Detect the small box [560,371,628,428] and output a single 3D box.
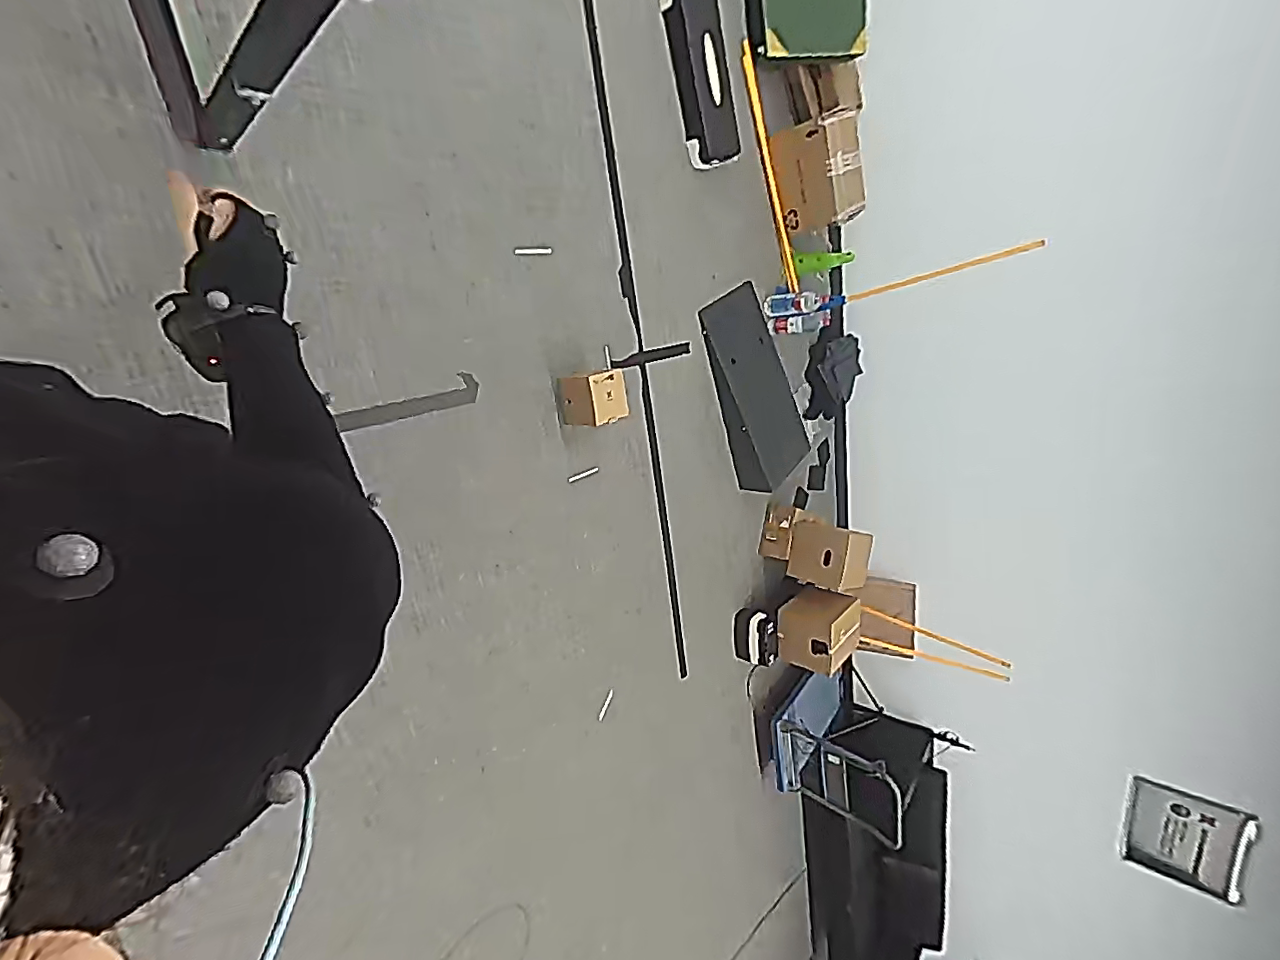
[{"bbox_3d":[-0.166,-0.293,1.939,0.168,0.176,0.179,-25,116,-43],"label":"small box"}]
